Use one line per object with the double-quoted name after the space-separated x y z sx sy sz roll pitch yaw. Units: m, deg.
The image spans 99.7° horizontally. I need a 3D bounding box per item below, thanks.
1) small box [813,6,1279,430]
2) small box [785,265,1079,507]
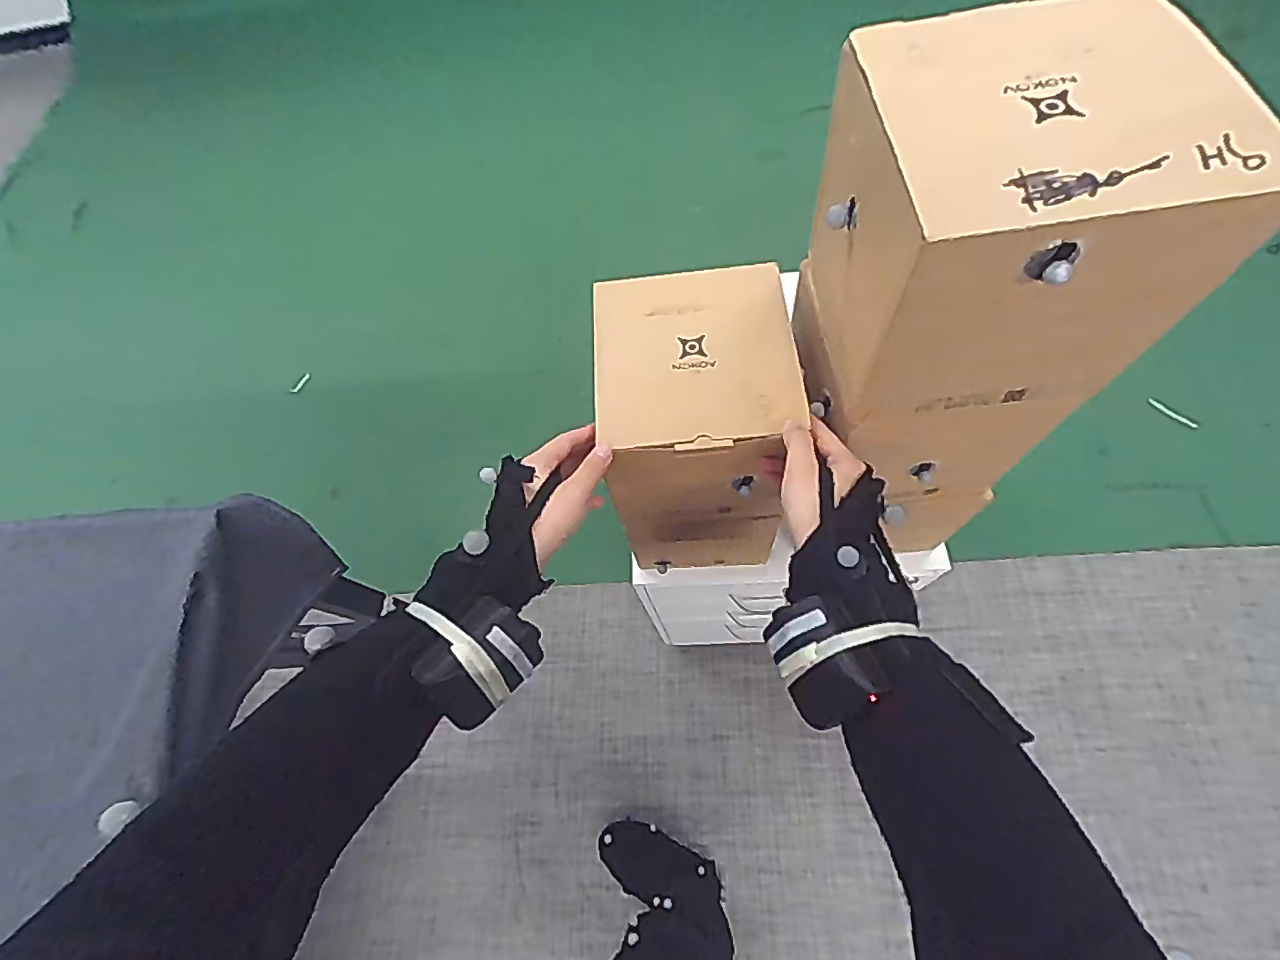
0.220 -0.154 0.350 0.168 0.176 0.179 -5 63 5 "small box"
0.238 -0.084 0.497 0.168 0.176 0.179 -7 64 4 "small box"
